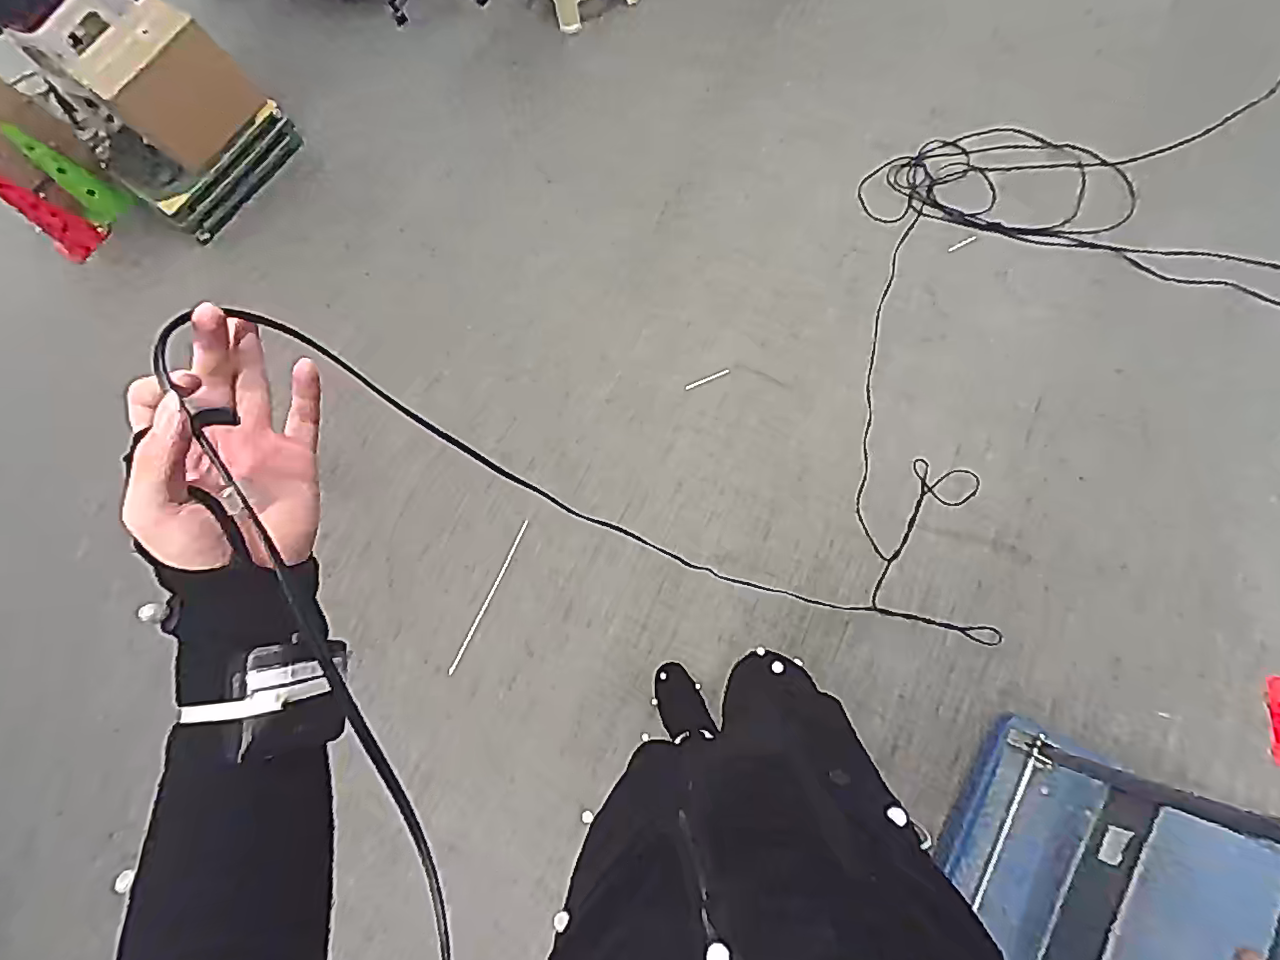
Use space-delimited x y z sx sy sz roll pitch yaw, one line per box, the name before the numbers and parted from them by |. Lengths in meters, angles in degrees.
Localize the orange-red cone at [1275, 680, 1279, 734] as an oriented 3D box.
orange-red cone | 1.486 0.495 1.018 0.198 0.360 0.199 8 74 11
